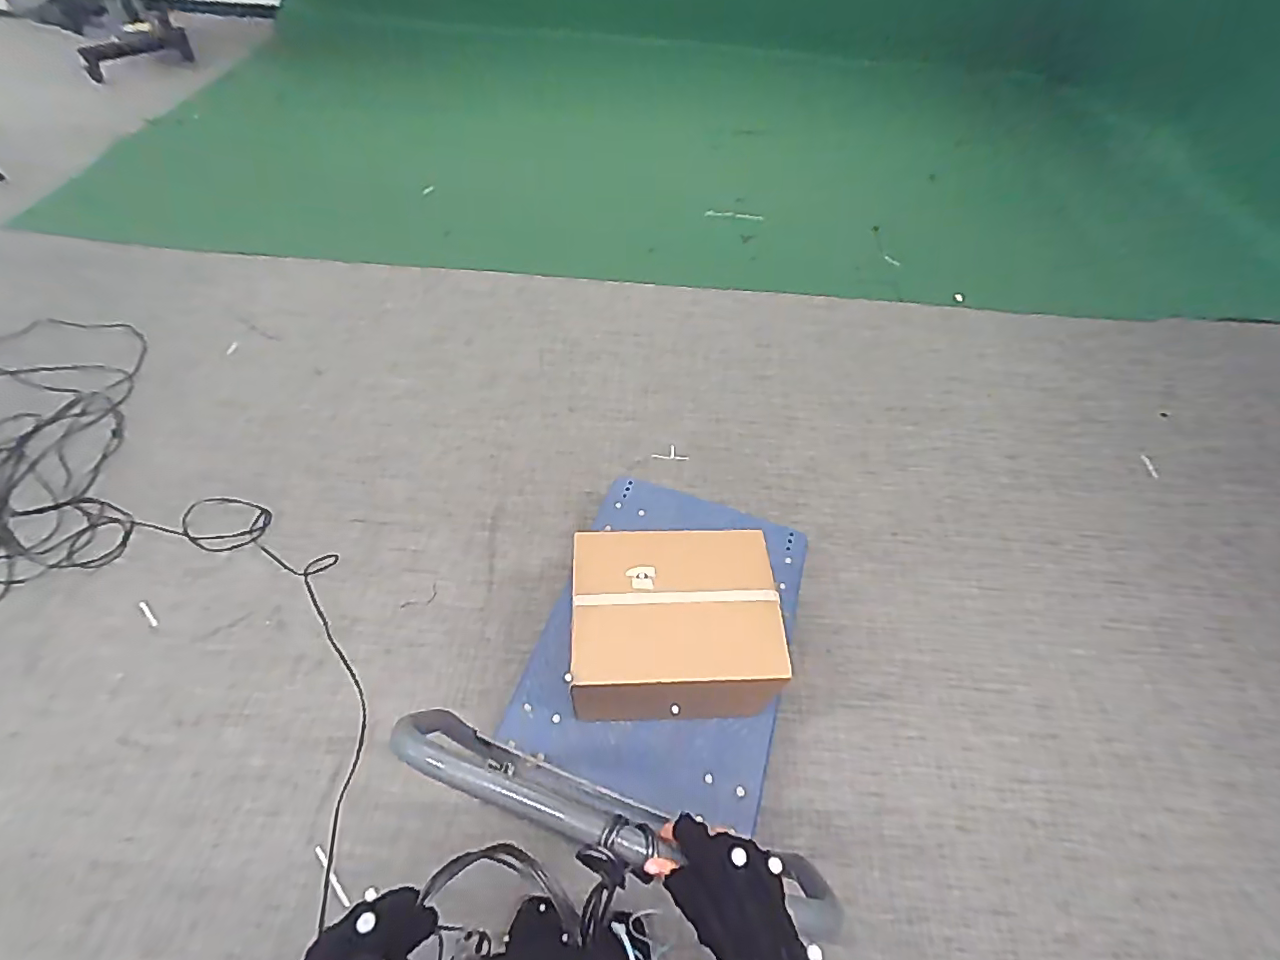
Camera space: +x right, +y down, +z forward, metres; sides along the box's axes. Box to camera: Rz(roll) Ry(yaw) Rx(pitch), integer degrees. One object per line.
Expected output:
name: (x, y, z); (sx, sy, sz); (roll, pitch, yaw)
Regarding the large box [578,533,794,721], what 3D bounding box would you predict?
large box: (0.075, 0.331, 1.189); (0.408, 0.320, 0.320); (-1, 54, -4)
